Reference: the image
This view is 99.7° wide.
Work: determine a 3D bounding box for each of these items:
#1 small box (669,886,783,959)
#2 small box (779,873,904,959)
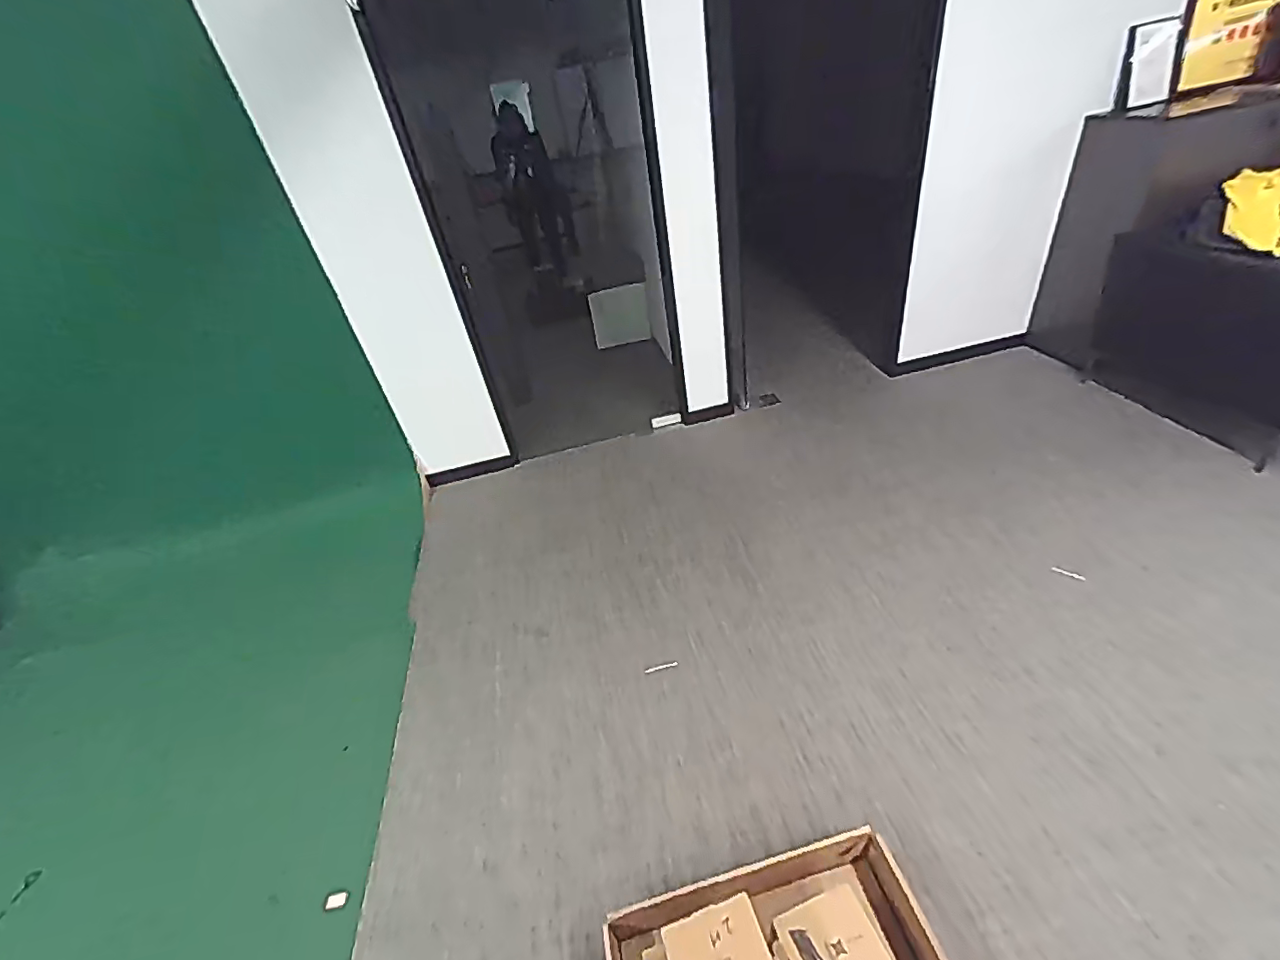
[{"bbox_3d":[0.162,0.857,0.939,0.168,0.176,0.179,-16,39,-9],"label":"small box"},{"bbox_3d":[0.392,0.923,1.059,0.179,0.176,0.168,-19,38,-9],"label":"small box"}]
